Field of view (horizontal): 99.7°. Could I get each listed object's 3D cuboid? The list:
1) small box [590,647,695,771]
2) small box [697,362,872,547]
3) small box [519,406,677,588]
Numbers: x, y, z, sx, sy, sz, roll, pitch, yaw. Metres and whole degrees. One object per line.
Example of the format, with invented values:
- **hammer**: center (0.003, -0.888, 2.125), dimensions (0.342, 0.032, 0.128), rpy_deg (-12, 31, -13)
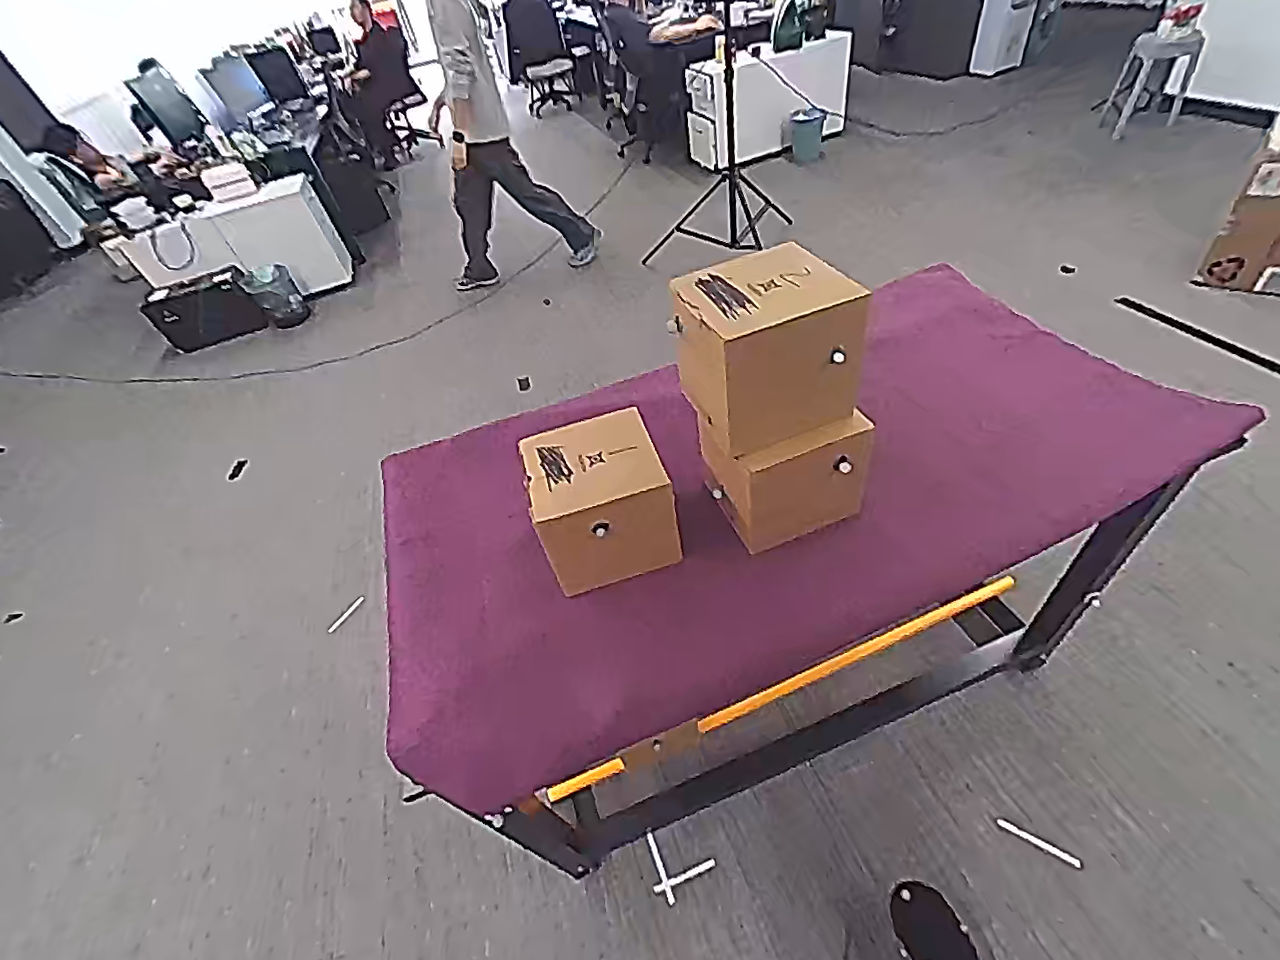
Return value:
- **small box**: center (0.010, 0.498, 1.172), dimensions (0.179, 0.176, 0.168), rpy_deg (-21, 48, -8)
- **small box**: center (0.196, -0.035, 0.771), dimensions (0.179, 0.176, 0.168), rpy_deg (-20, 45, -7)
- **small box**: center (-0.057, 0.027, 0.766), dimensions (0.179, 0.176, 0.168), rpy_deg (-16, 45, -5)
